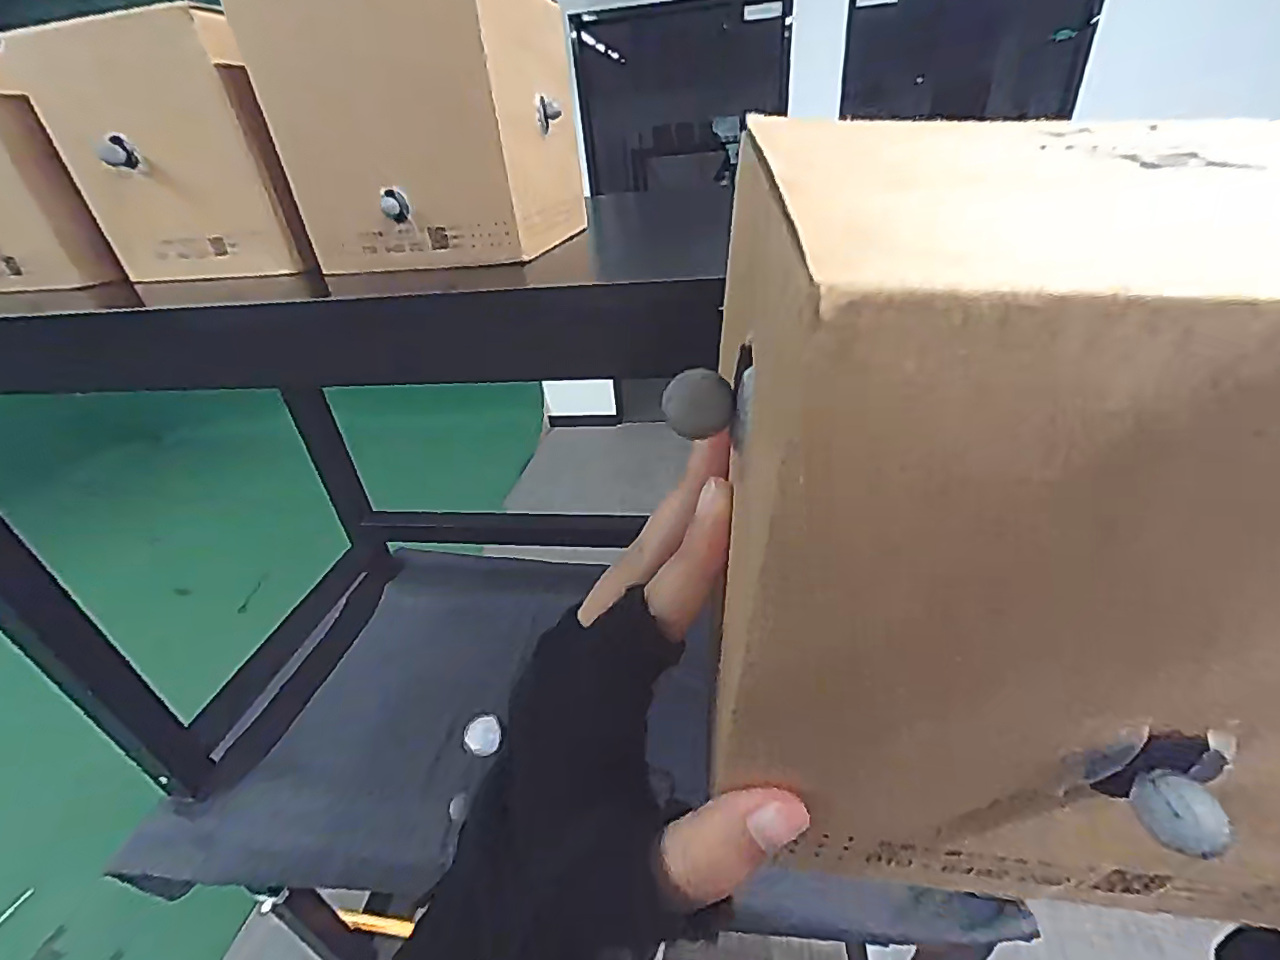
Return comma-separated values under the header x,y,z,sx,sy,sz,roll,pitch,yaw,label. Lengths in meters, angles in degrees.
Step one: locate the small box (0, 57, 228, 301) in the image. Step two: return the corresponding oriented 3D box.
x,y,z,sx,sy,sz,roll,pitch,yaw,label
-0.534,-0.272,0.501,0.168,0.176,0.179,1,33,11,small box
